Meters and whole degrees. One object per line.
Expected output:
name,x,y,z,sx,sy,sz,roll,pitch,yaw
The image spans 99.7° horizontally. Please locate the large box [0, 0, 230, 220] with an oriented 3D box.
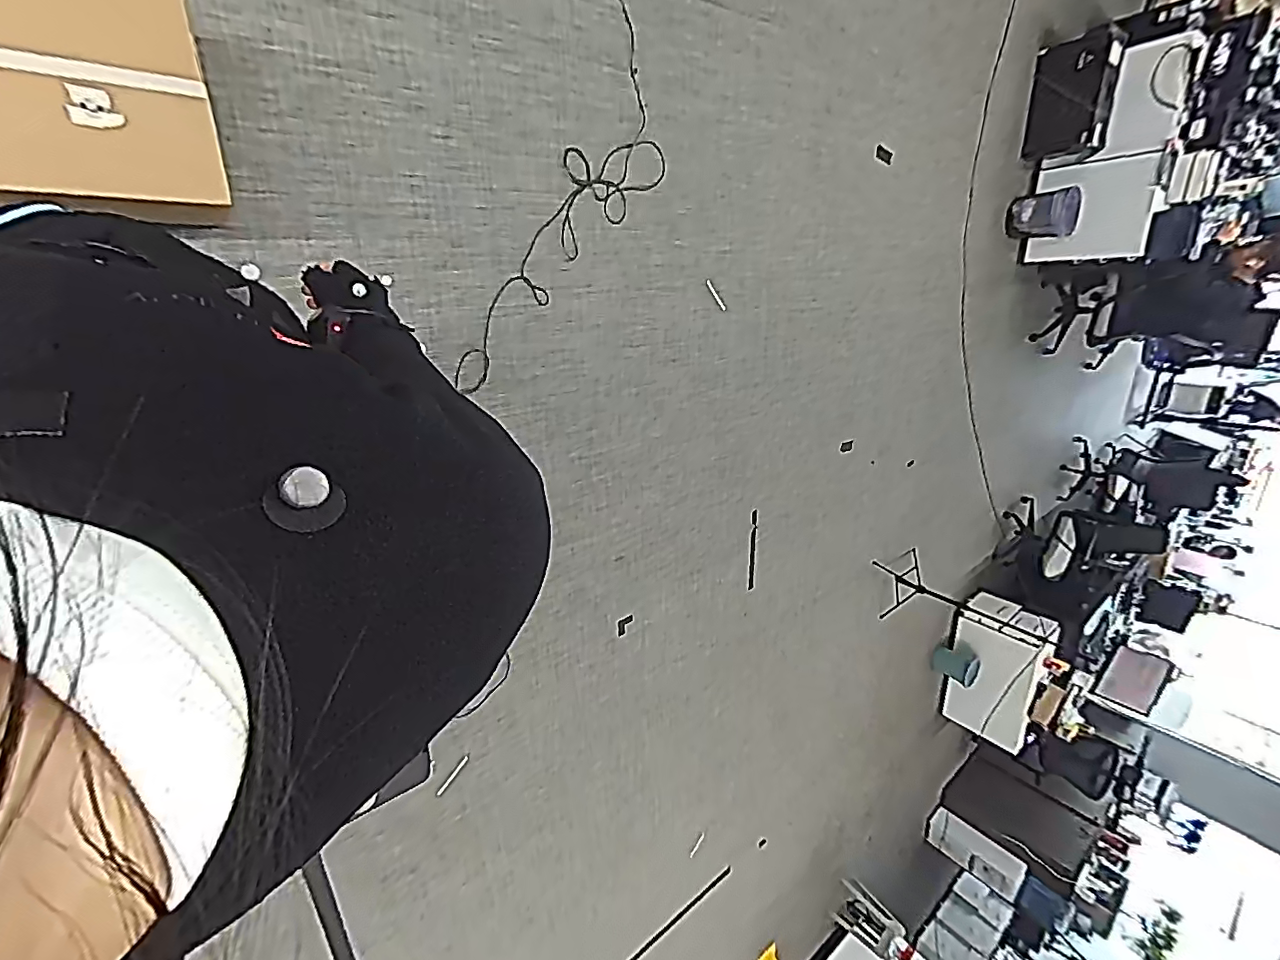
large box,-0.912,-0.588,0.818,0.408,0.320,0.320,-15,114,-36
